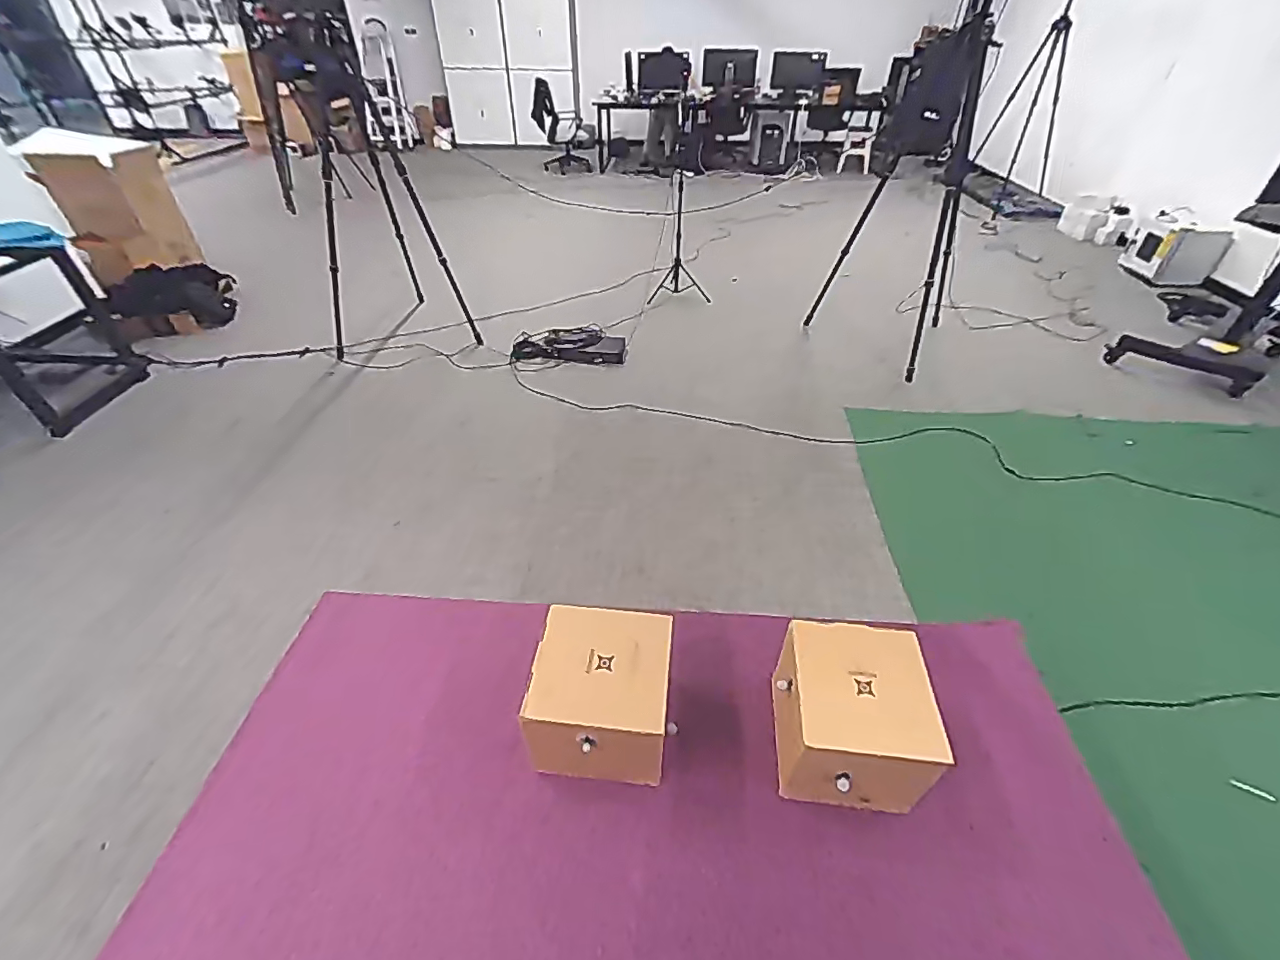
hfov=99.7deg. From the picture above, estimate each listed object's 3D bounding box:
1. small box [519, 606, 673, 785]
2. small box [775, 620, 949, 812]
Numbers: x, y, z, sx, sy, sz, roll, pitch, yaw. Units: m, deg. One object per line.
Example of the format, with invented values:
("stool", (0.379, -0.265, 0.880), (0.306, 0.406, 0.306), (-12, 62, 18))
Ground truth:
("small box", (-0.049, 0.298, 0.747), (0.179, 0.176, 0.168), (5, 41, 5))
("small box", (0.278, 0.315, 0.722), (0.168, 0.176, 0.179), (4, 40, 6))
